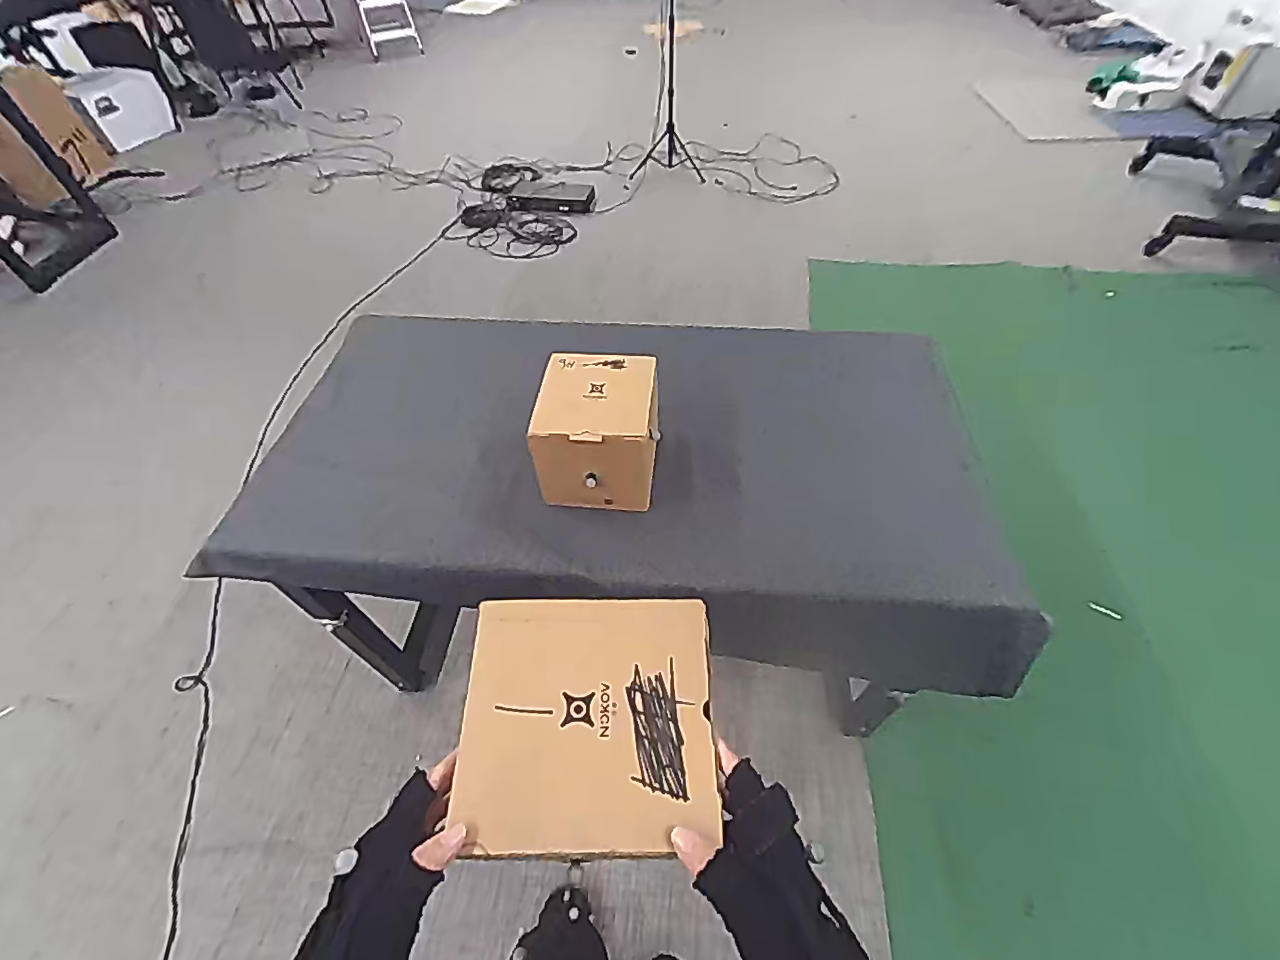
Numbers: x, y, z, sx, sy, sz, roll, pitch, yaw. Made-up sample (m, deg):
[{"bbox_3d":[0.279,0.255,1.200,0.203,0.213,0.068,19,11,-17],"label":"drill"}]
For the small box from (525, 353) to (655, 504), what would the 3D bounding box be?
[{"bbox_3d":[-0.065,-0.077,0.843,0.168,0.176,0.179,2,52,5],"label":"small box"}]
